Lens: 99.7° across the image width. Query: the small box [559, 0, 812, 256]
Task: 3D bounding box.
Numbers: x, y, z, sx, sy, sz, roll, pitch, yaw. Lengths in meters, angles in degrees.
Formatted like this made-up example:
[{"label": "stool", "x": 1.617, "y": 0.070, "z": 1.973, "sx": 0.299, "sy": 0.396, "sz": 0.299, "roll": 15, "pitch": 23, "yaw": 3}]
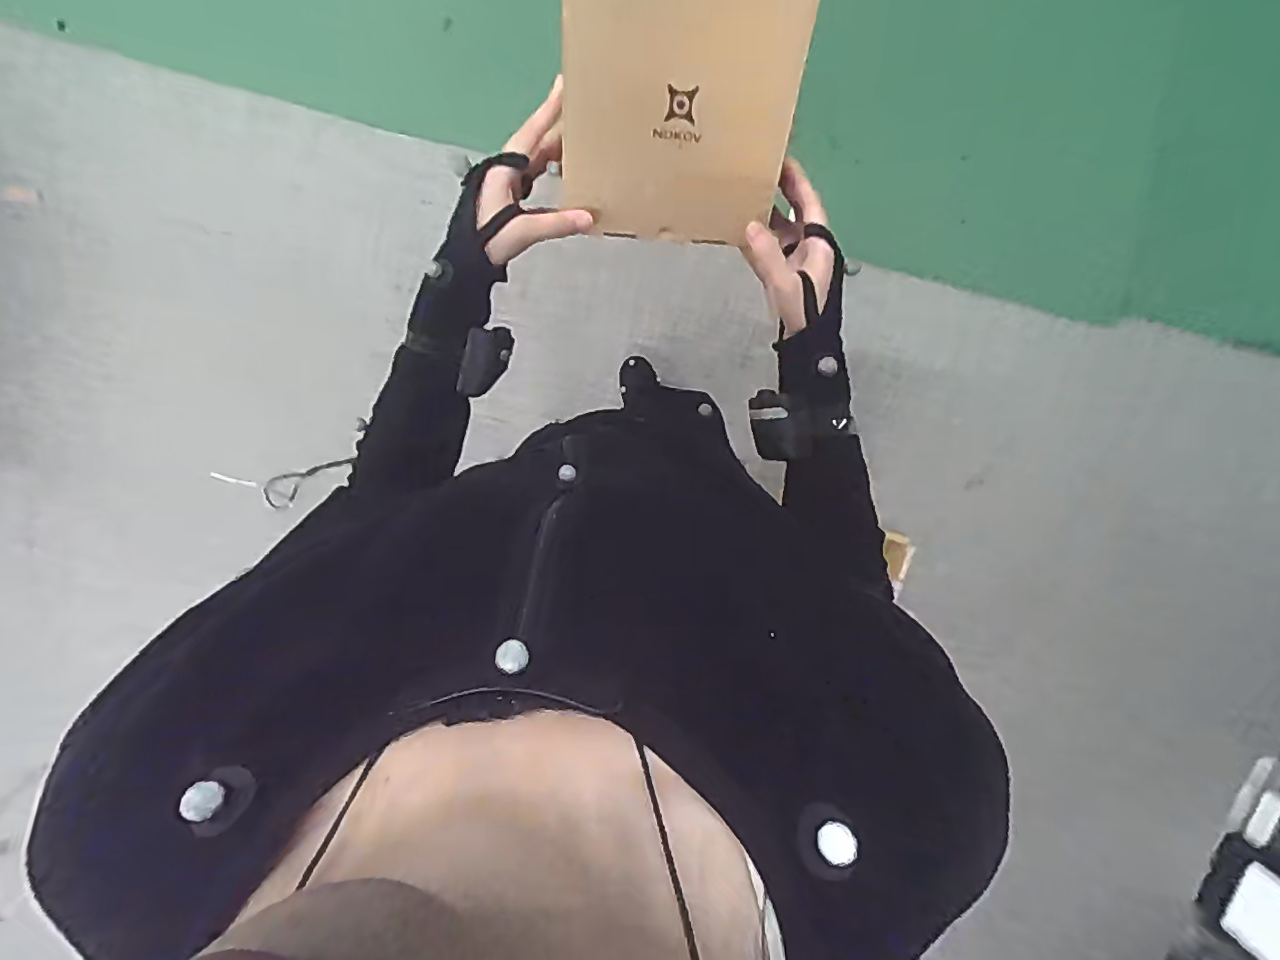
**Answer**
[{"label": "small box", "x": 0.020, "y": -0.306, "z": 0.448, "sx": 0.168, "sy": 0.176, "sz": 0.179, "roll": 2, "pitch": 131, "yaw": -4}]
